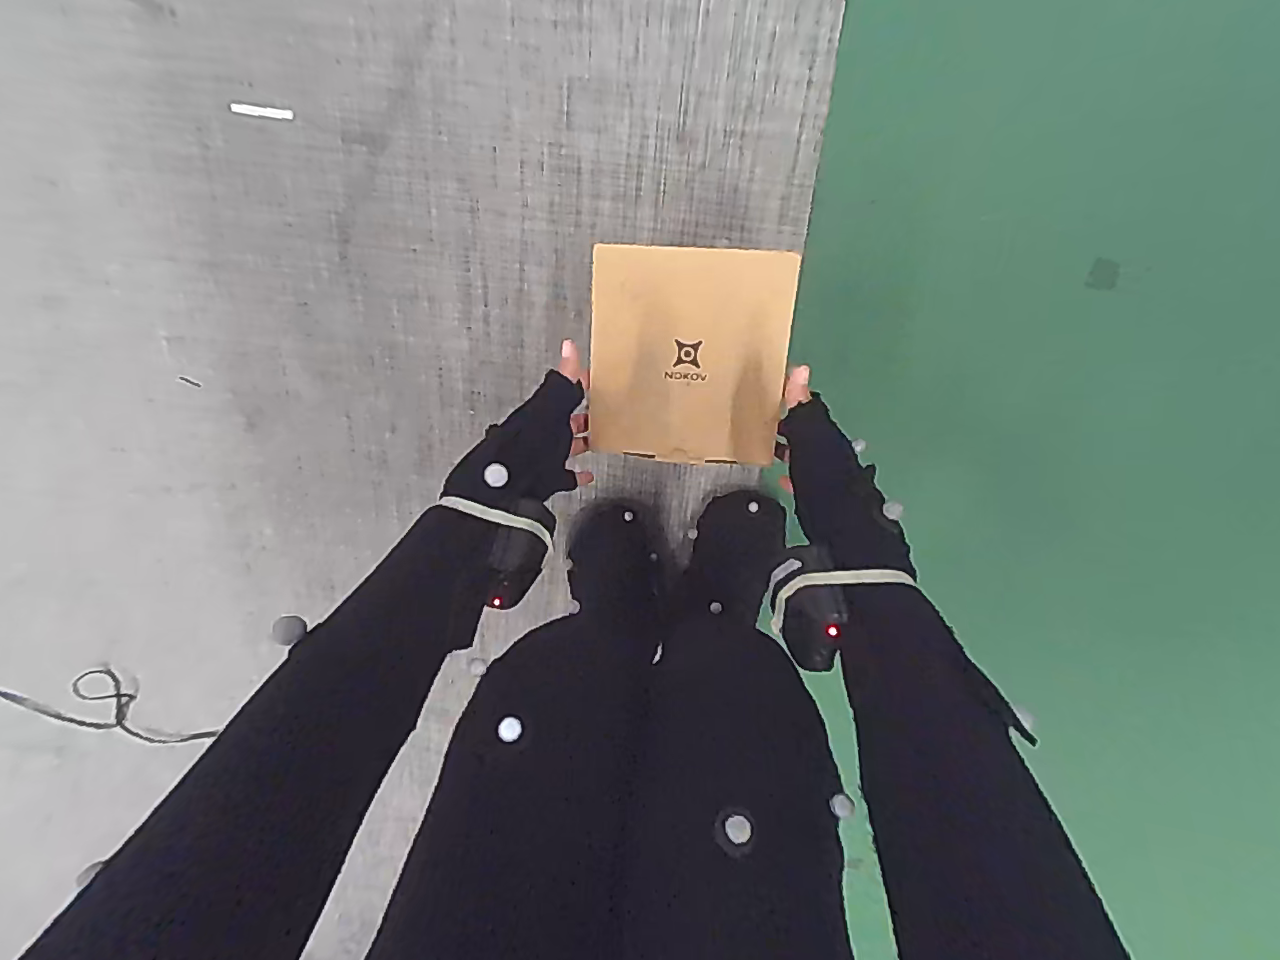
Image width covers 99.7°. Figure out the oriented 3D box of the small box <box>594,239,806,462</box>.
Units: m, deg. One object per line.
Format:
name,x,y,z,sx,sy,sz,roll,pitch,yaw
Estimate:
small box,0.053,-0.127,0.531,0.168,0.176,0.179,5,107,5
